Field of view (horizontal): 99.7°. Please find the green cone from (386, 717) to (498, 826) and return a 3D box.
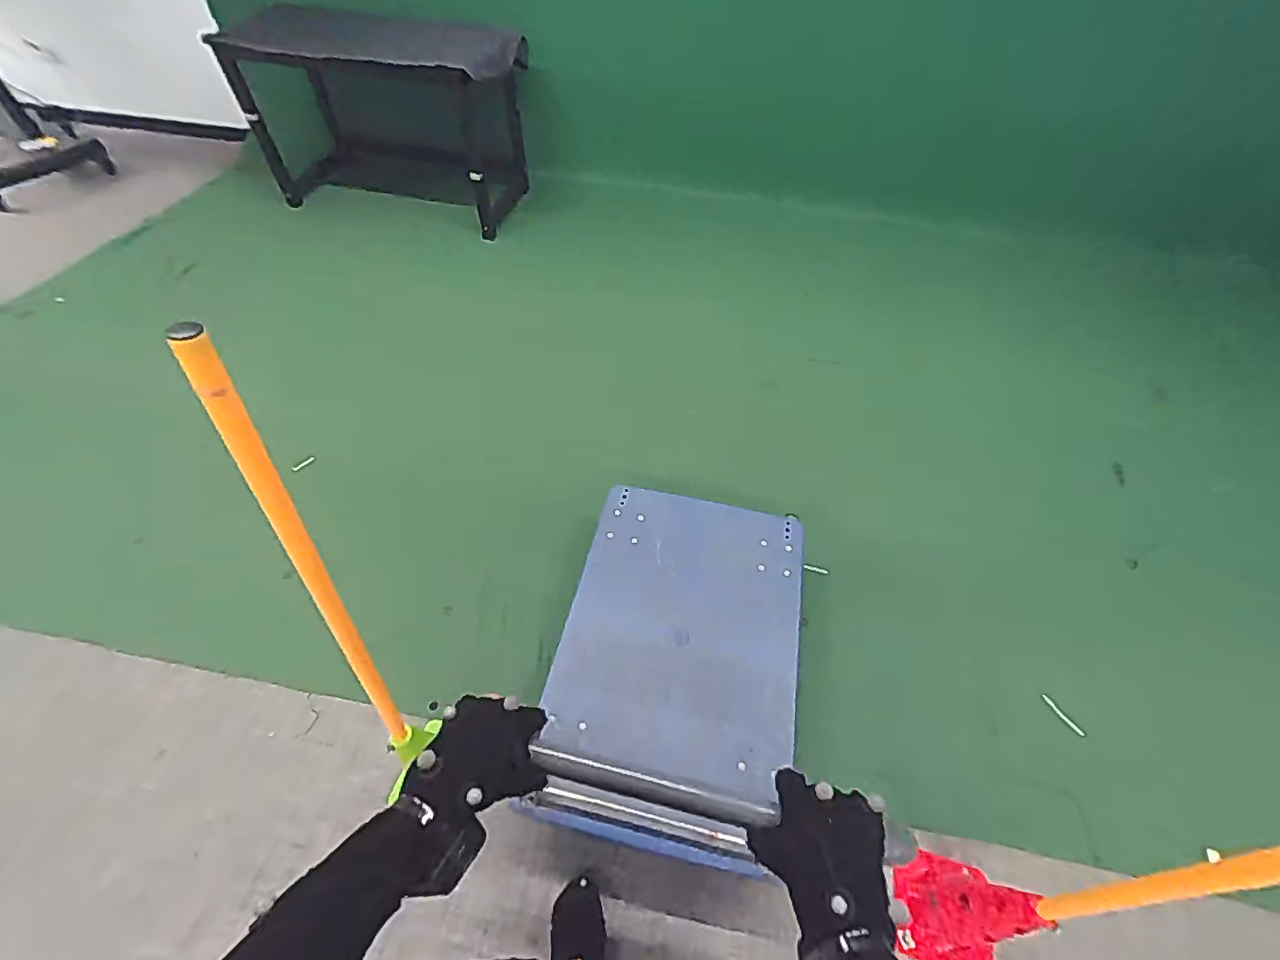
[{"bbox_3d":[-0.459,0.581,1.158,0.202,0.368,0.200,14,51,9],"label":"green cone"}]
